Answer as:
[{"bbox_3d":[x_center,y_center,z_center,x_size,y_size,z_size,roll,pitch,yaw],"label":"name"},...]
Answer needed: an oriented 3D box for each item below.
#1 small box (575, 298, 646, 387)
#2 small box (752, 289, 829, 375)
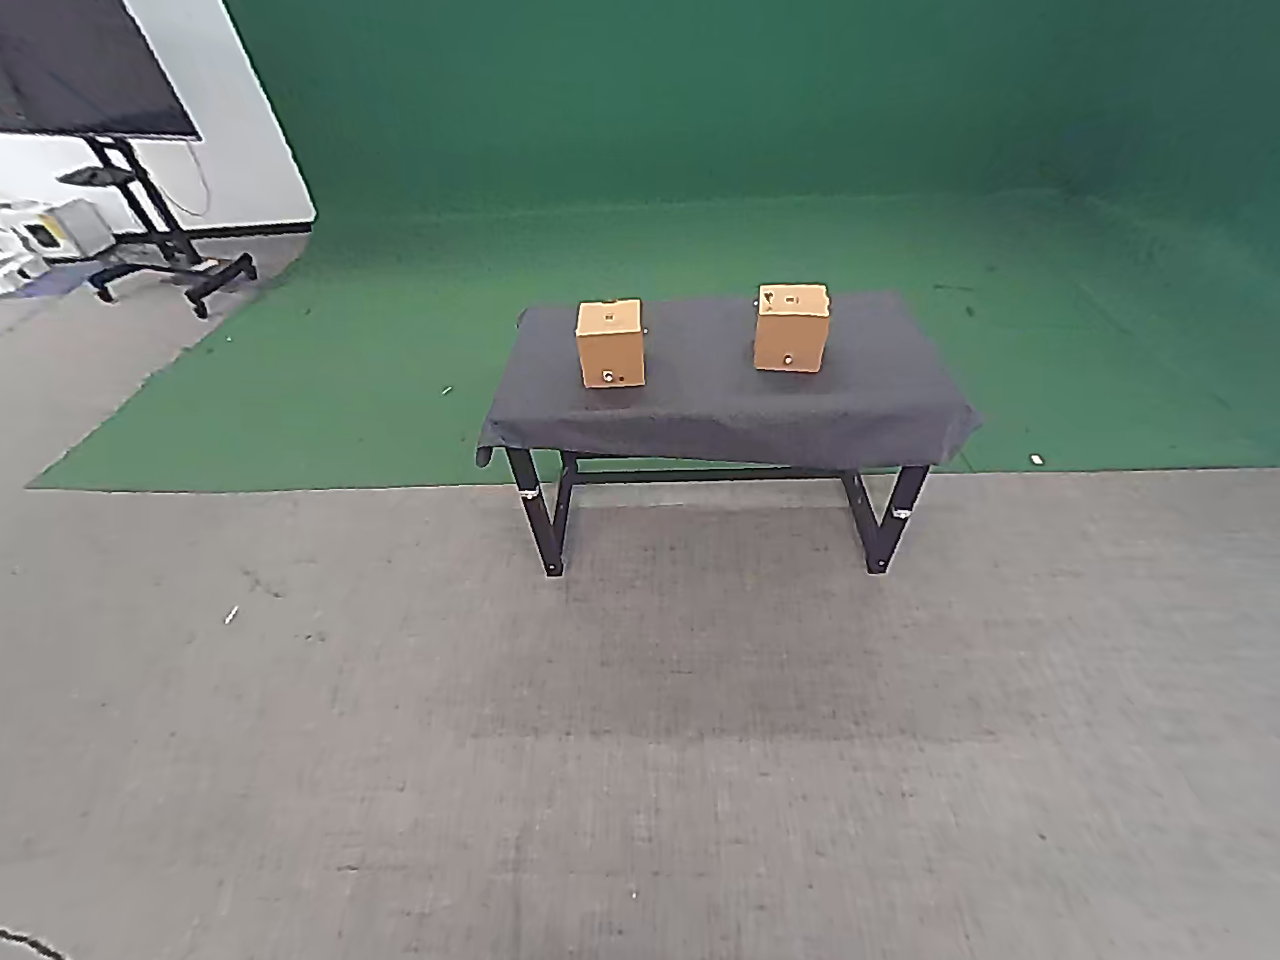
[{"bbox_3d":[-0.075,-0.372,1.465,0.168,0.176,0.179,-3,45,5],"label":"small box"},{"bbox_3d":[0.407,-0.401,1.475,0.179,0.176,0.168,5,46,9],"label":"small box"}]
